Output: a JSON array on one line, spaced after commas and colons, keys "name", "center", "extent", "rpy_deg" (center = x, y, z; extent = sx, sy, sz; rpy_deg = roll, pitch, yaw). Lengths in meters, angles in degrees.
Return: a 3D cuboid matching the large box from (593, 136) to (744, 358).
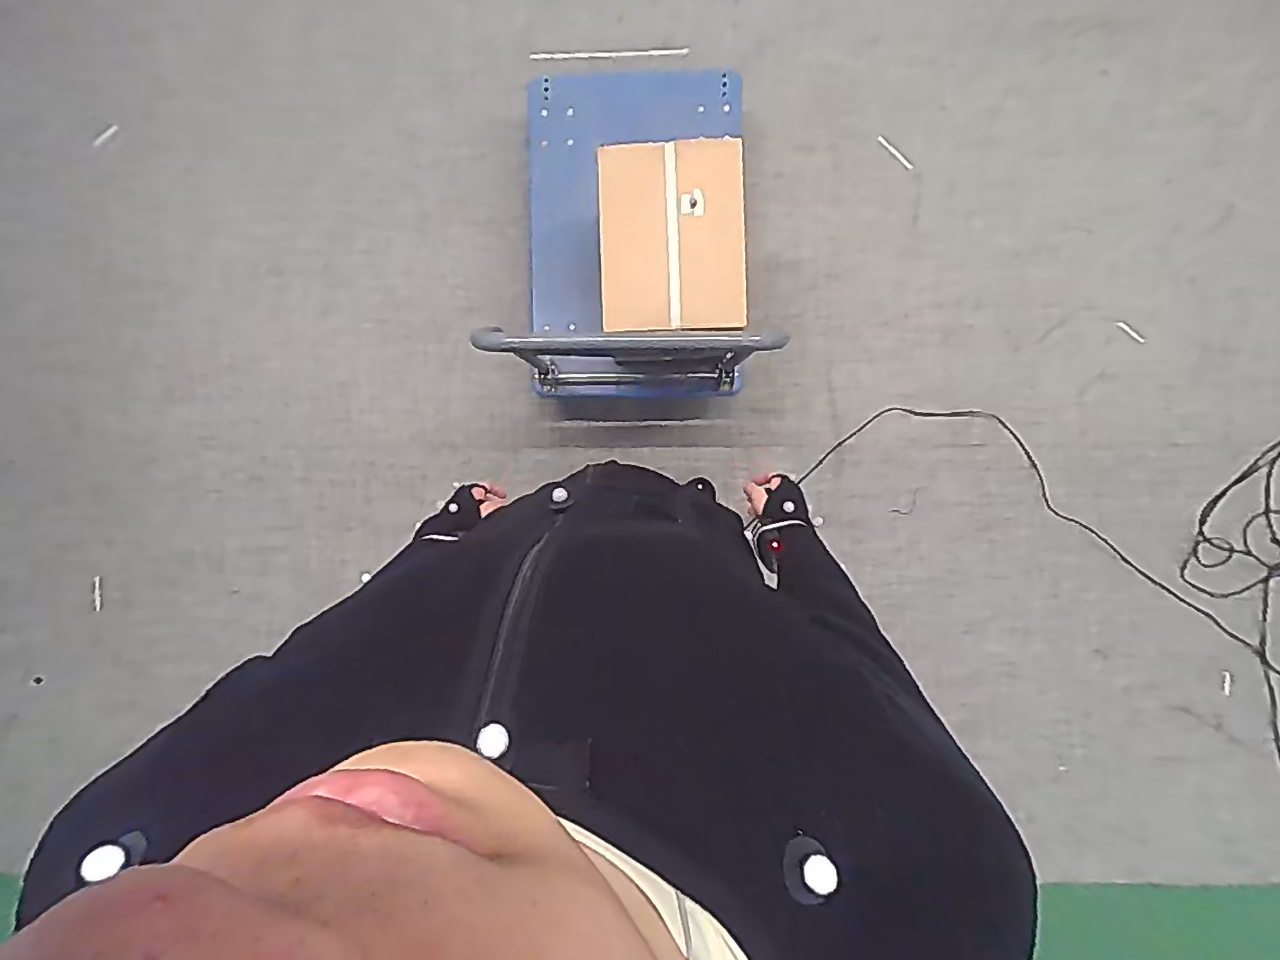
[{"name": "large box", "center": [0.065, -0.529, 1.303], "extent": [0.320, 0.320, 0.408], "rpy_deg": [-2, 91, 0]}]
